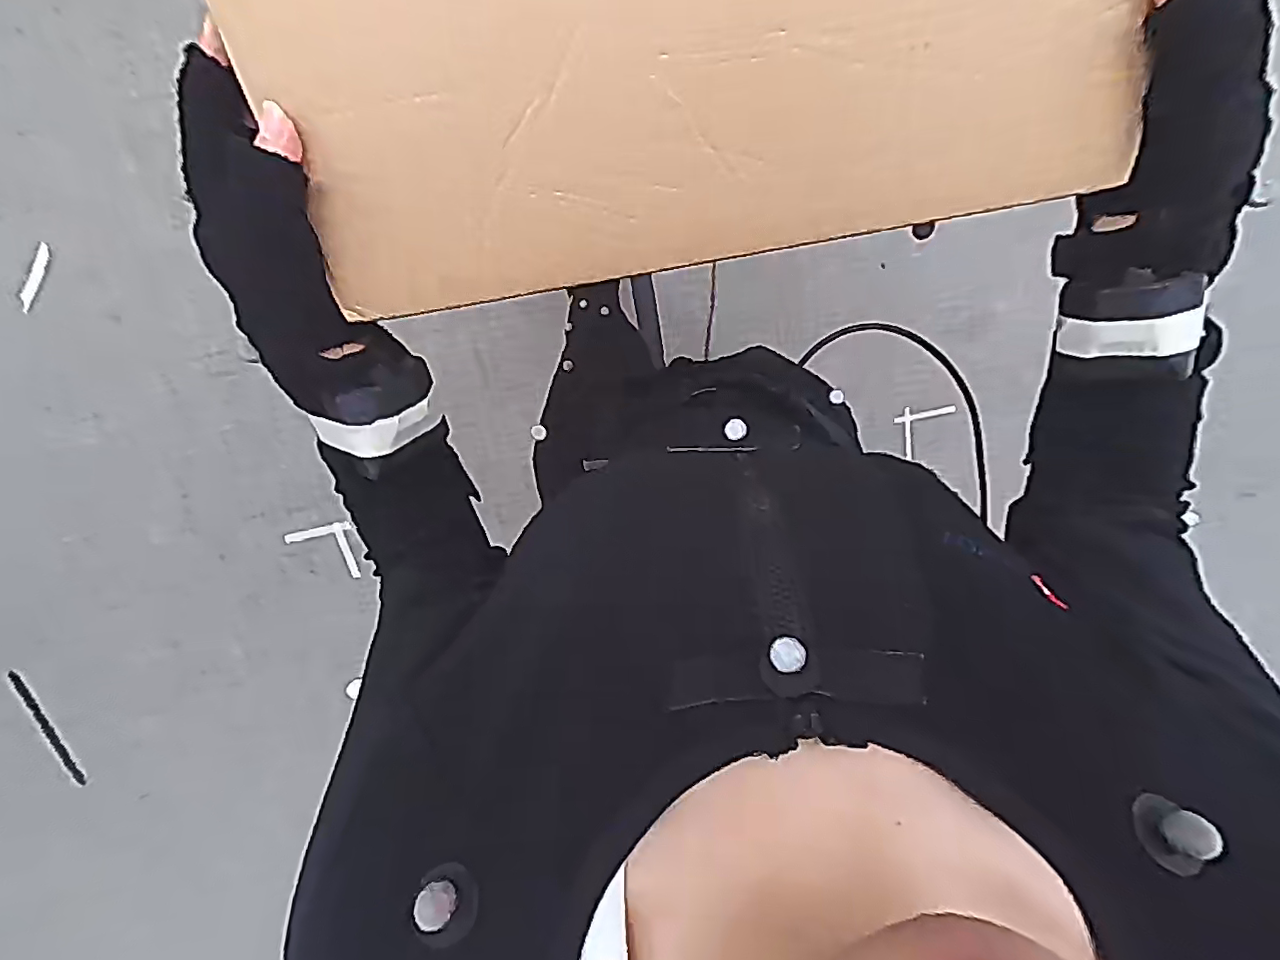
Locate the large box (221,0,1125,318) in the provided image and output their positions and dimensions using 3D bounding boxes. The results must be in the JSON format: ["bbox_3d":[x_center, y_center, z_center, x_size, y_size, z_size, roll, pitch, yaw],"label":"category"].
[{"bbox_3d":[0.008,-0.327,0.345,0.408,0.320,0.320,-9,118,3],"label":"large box"}]
